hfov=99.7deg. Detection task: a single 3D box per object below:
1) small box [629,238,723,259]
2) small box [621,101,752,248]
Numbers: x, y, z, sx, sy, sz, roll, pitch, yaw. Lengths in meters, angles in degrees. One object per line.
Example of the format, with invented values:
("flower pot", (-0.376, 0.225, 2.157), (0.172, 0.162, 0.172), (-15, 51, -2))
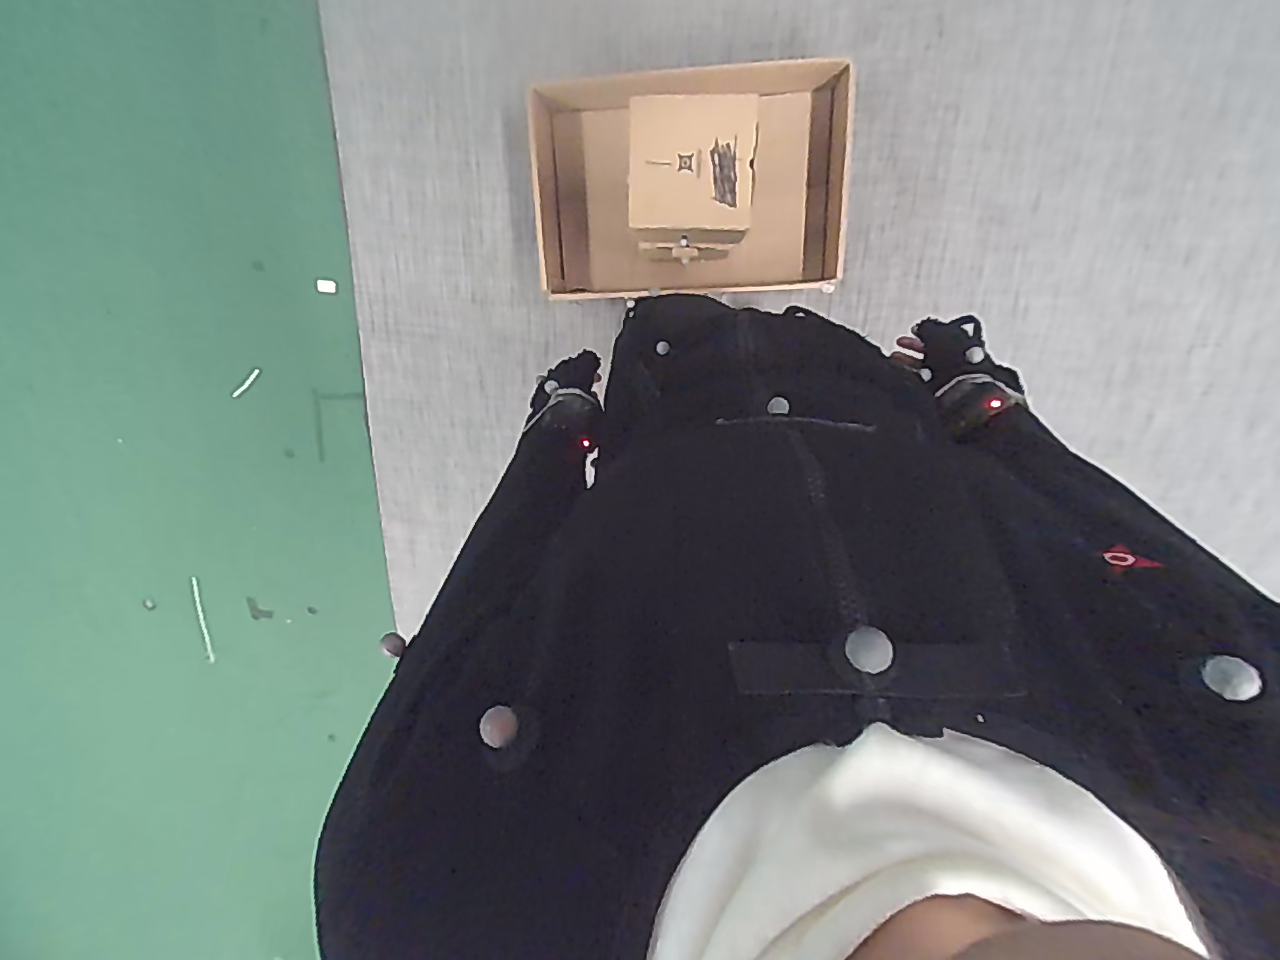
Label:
("small box", (0.072, -0.501, 0.981), (0.168, 0.176, 0.179), (3, 108, 4))
("small box", (0.068, -0.461, 0.838), (0.179, 0.176, 0.168), (4, 106, 4))
